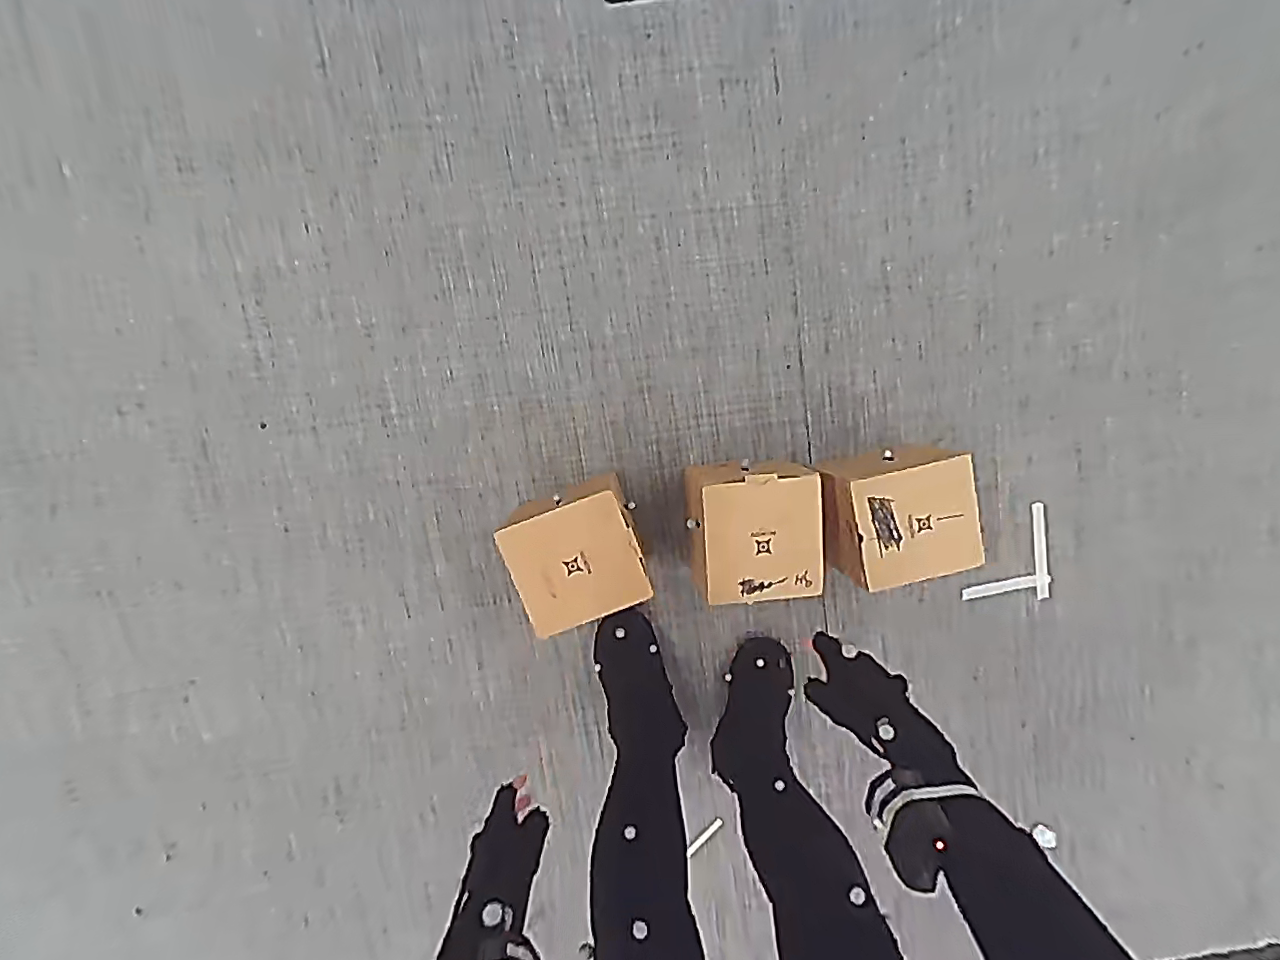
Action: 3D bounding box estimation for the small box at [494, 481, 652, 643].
[{"bbox_3d":[-0.094,0.111,0.816,0.179,0.176,0.168,-21,98,1],"label":"small box"}]

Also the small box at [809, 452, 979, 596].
[{"bbox_3d":[0.375,0.058,0.831,0.179,0.176,0.168,-13,99,-2],"label":"small box"}]
